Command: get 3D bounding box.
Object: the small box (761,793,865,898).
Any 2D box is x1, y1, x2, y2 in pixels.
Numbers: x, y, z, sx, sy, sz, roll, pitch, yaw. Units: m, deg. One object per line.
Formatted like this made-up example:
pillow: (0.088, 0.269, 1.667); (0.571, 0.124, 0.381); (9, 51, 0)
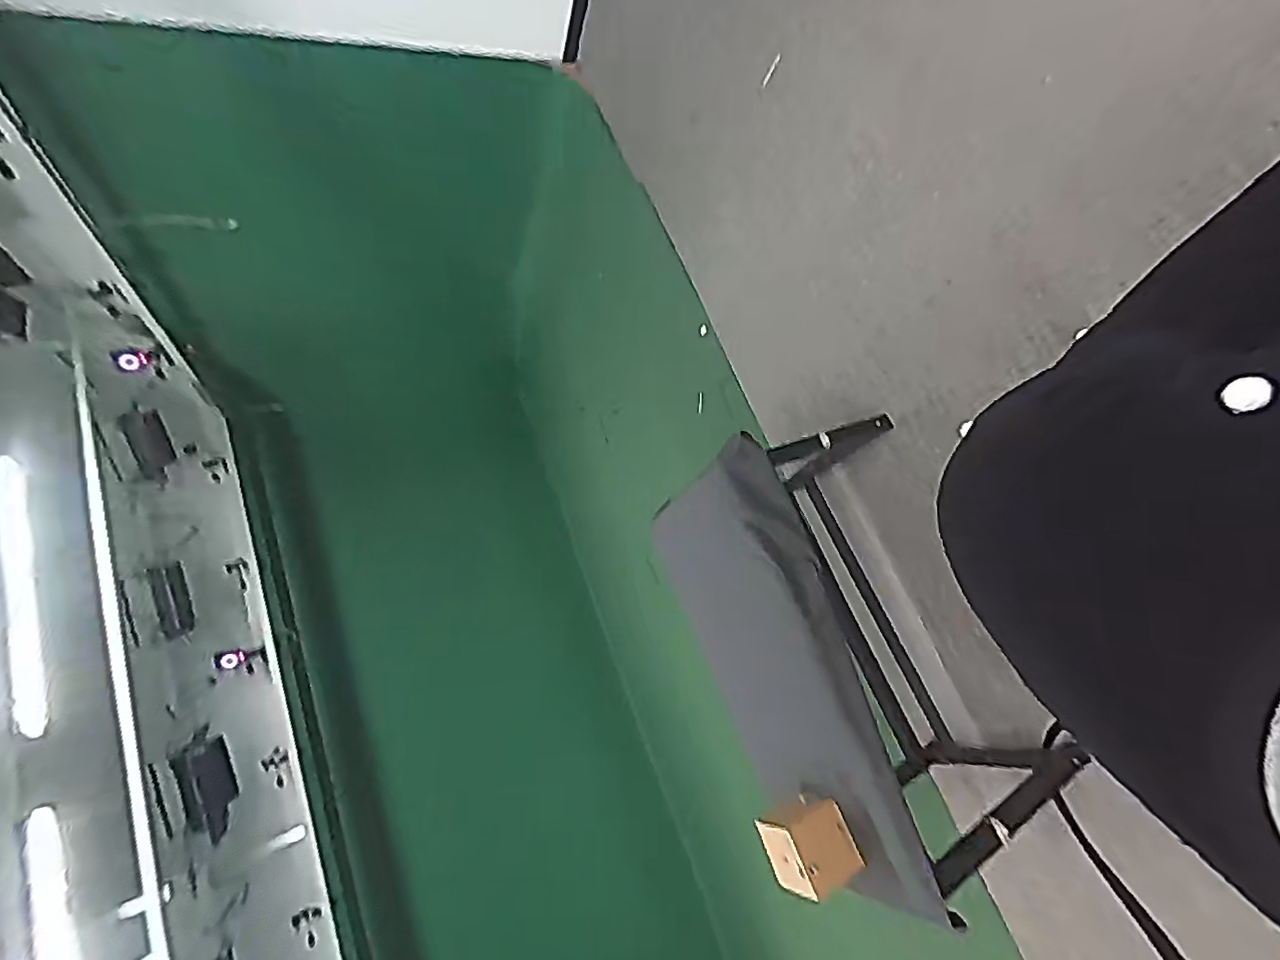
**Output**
small box: (0.467, 0.975, 1.464); (0.168, 0.176, 0.179); (65, 154, 15)
